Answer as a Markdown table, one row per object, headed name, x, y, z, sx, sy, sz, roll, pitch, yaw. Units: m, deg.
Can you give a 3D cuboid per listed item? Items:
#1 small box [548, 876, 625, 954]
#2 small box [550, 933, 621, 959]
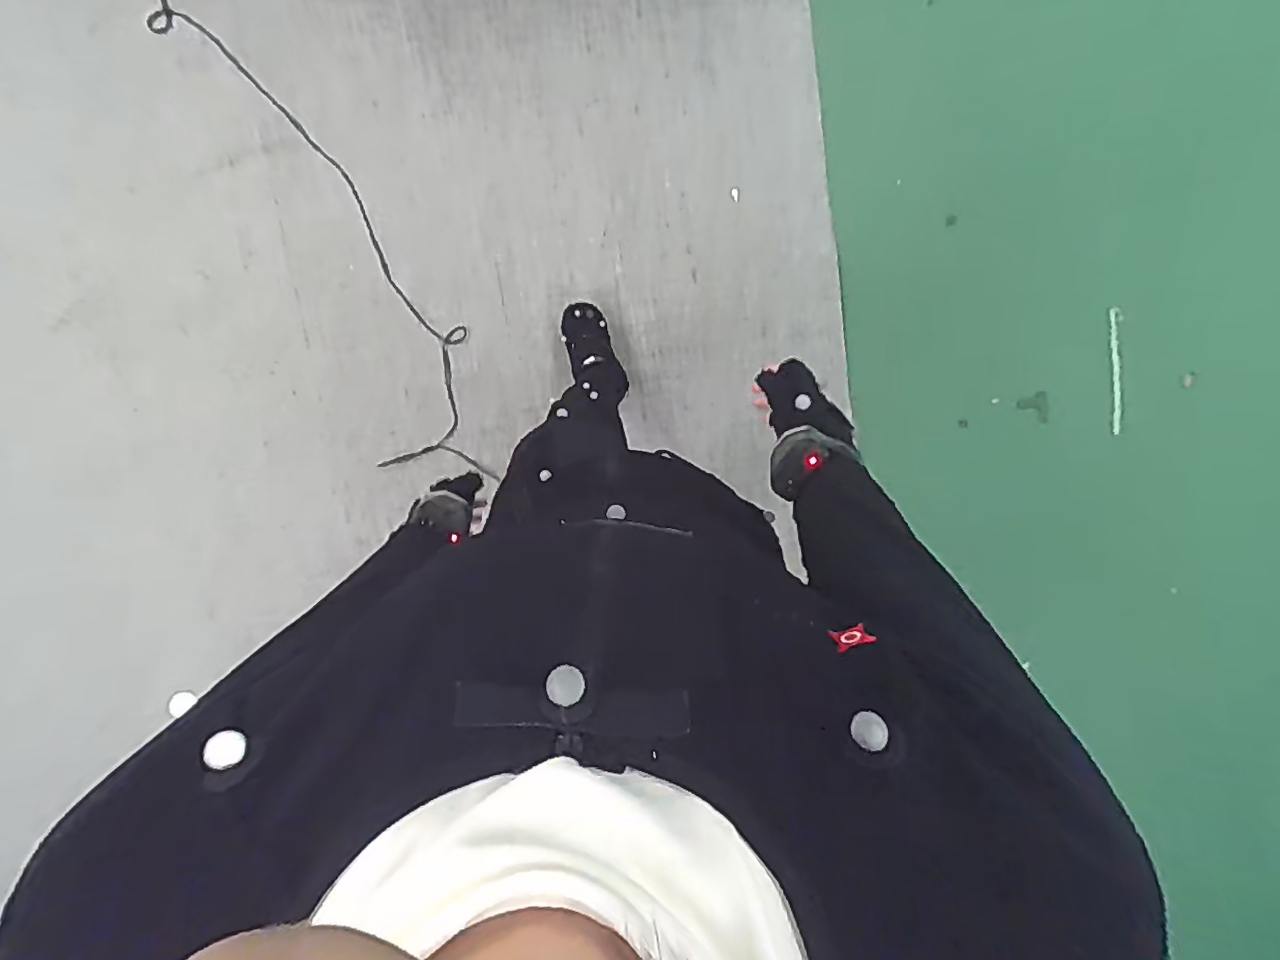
| name | x | y | z | sx | sy | sz | roll | pitch | yaw |
| --- | --- | --- | --- | --- | --- | --- | --- | --- | --- |
| small box | -0.143 | 1.239 | 1.492 | 0.179 | 0.176 | 0.168 | -8 | 97 | 2 |
| small box | -0.137 | 1.266 | 1.331 | 0.179 | 0.176 | 0.168 | -5 | 97 | 1 |
